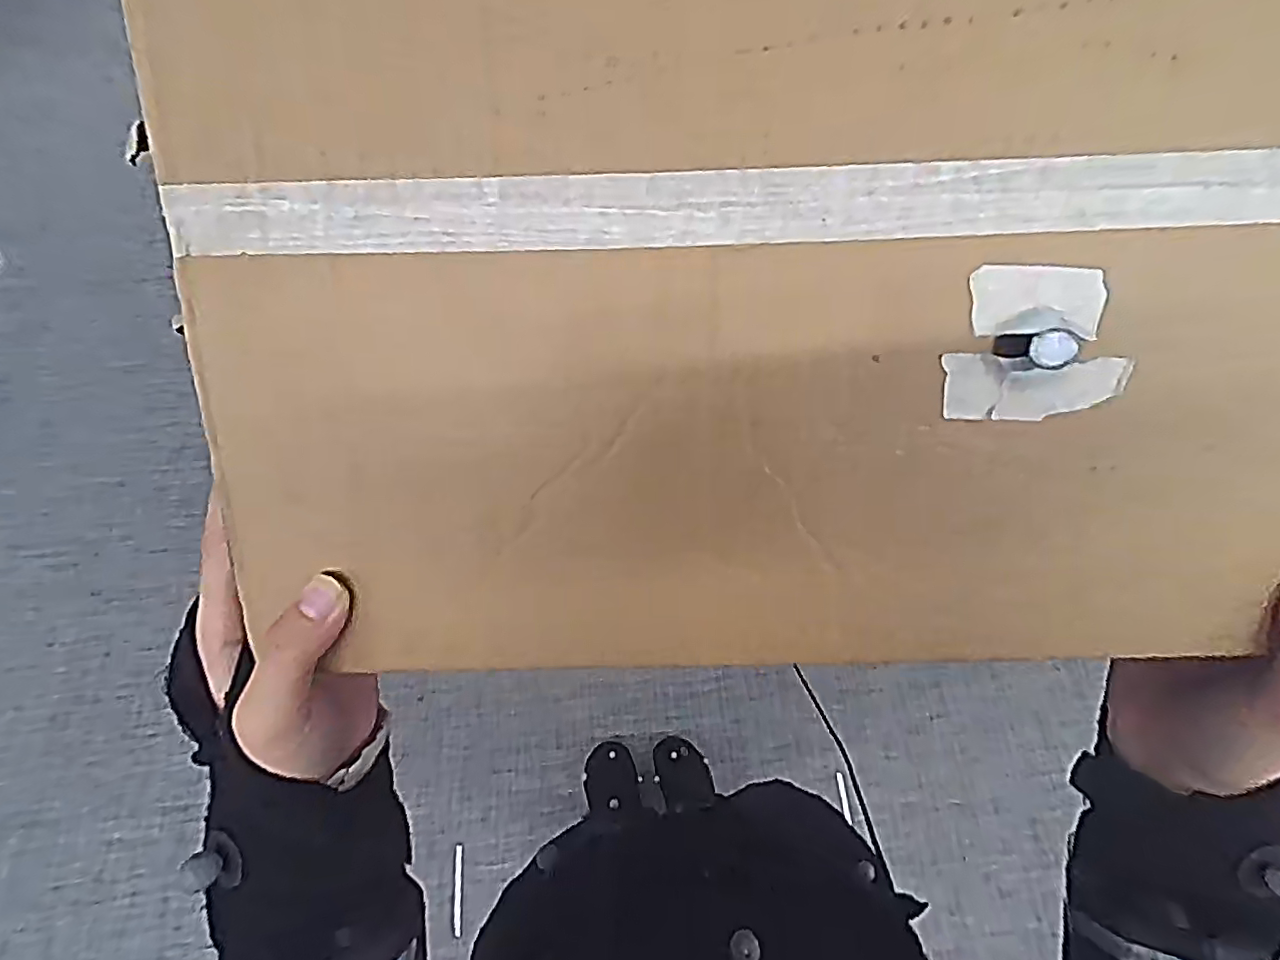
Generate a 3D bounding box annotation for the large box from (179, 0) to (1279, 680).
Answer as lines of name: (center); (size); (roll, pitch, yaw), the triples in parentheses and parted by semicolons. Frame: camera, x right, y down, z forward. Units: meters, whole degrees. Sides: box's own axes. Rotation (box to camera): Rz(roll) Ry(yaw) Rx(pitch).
large box: (0.055, -0.109, 0.328); (0.408, 0.320, 0.320); (-2, 101, -1)
